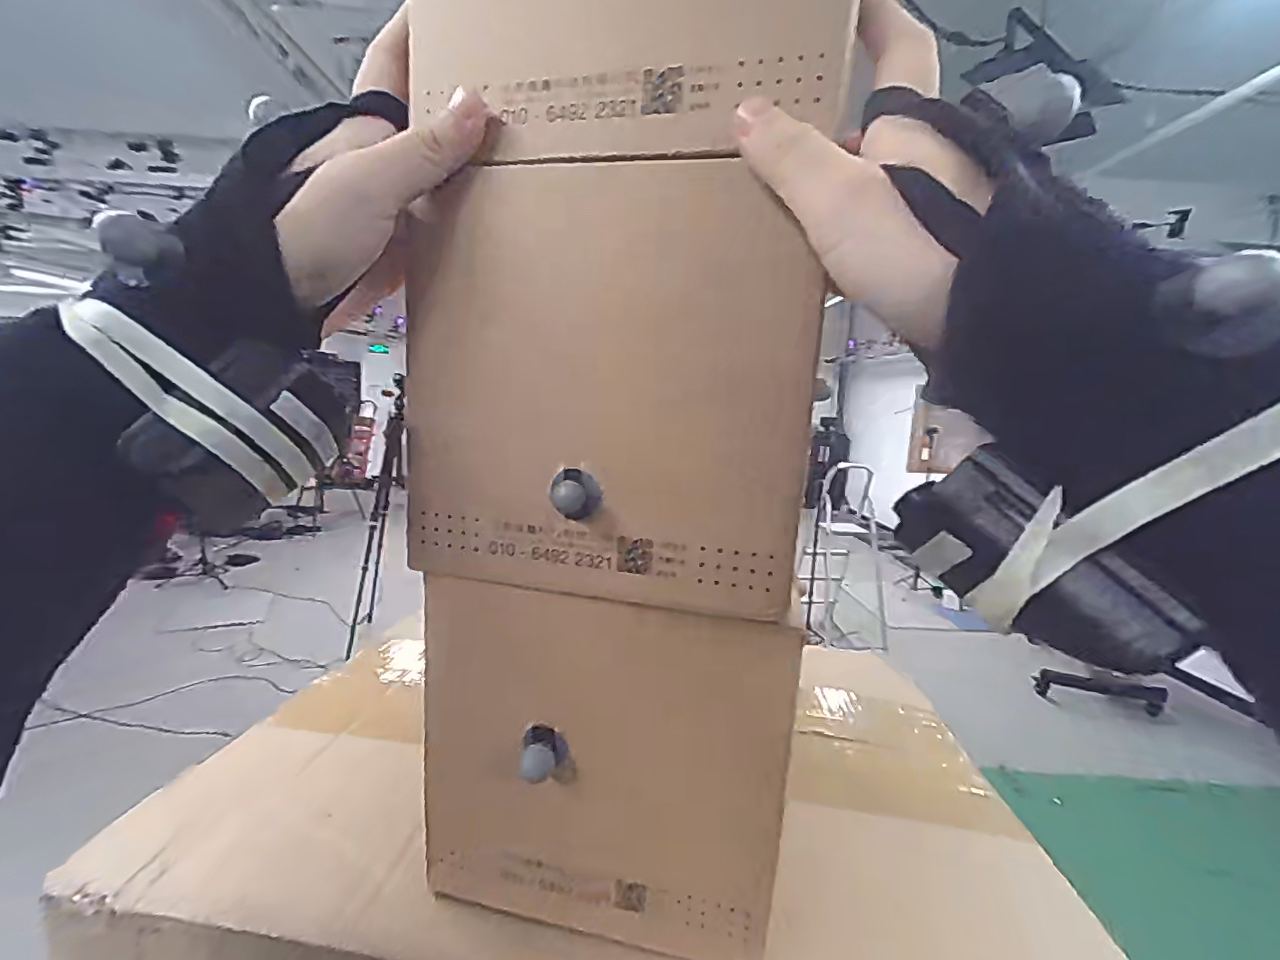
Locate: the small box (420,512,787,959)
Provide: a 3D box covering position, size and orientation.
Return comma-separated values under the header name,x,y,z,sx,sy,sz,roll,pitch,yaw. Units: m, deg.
name,x,y,z,sx,sy,sz,roll,pitch,yaw
small box,-0.006,0.124,0.322,0.168,0.176,0.179,6,9,11
